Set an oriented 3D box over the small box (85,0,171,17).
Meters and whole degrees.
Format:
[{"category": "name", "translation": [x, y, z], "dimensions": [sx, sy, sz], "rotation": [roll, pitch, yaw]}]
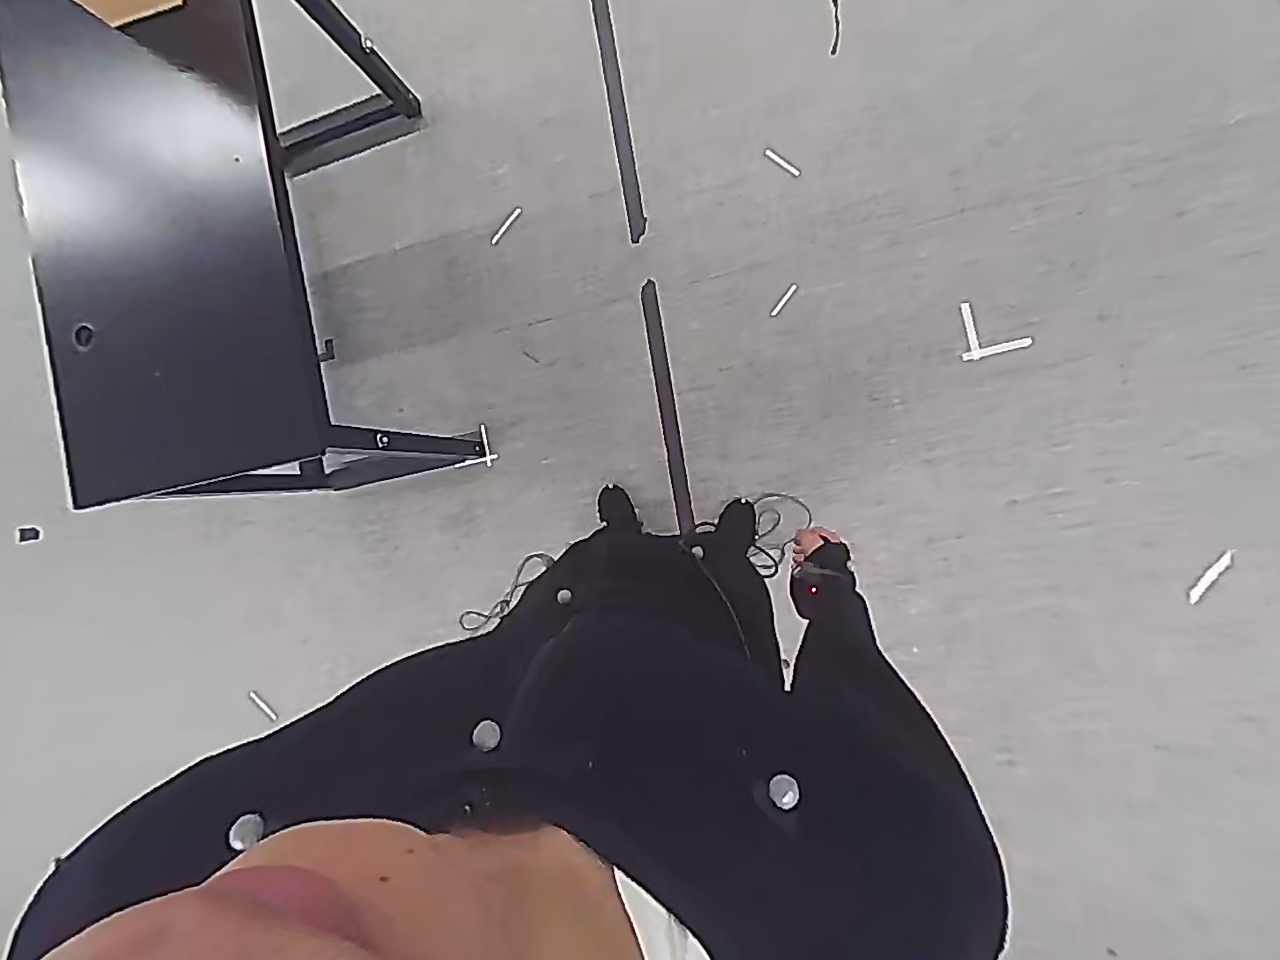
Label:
[{"category": "small box", "translation": [-0.998, -1.001, 0.985], "dimensions": [0.179, 0.176, 0.168], "rotation": [-6, 91, 11]}]
